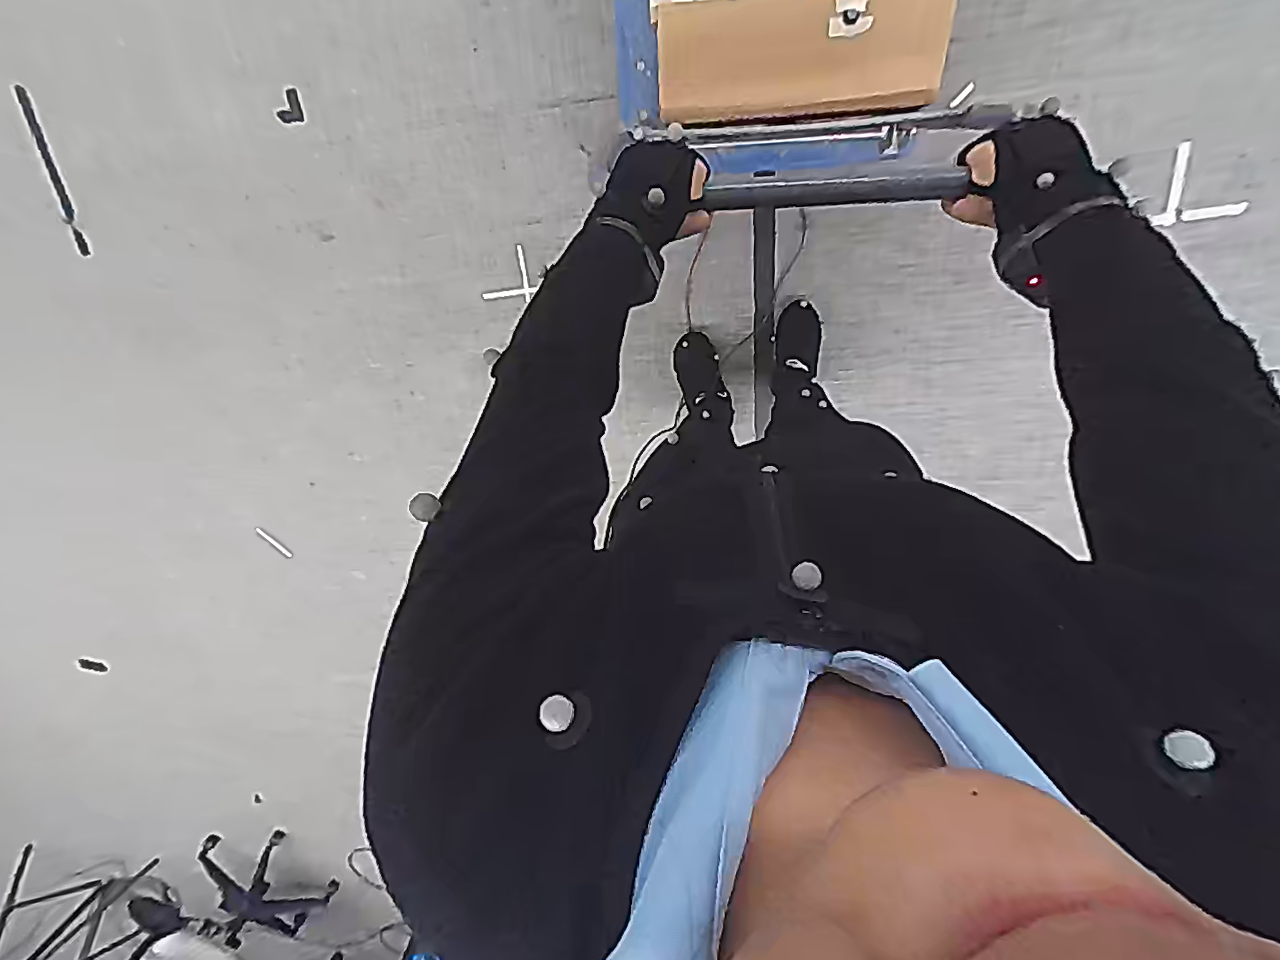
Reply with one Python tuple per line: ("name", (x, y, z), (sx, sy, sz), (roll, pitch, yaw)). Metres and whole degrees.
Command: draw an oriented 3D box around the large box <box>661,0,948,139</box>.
("large box", (0.239, -0.764, 0.880), (0.408, 0.320, 0.320), (-1, 120, 7))
